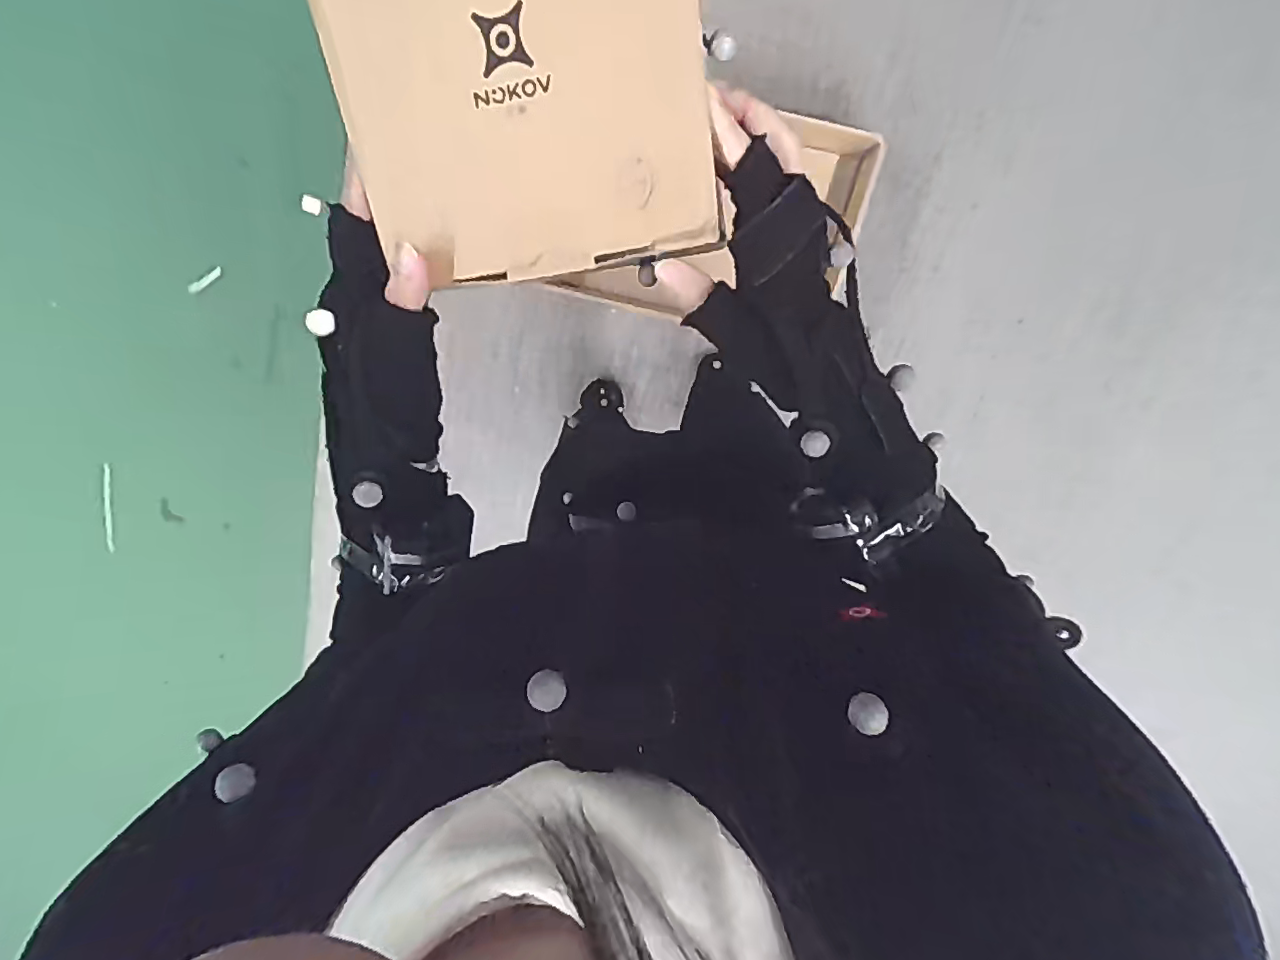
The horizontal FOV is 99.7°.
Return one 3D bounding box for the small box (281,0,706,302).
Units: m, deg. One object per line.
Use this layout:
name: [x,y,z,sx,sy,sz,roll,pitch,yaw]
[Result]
small box: [-0.055,-0.207,0.303,0.168,0.176,0.179,-6,110,11]
